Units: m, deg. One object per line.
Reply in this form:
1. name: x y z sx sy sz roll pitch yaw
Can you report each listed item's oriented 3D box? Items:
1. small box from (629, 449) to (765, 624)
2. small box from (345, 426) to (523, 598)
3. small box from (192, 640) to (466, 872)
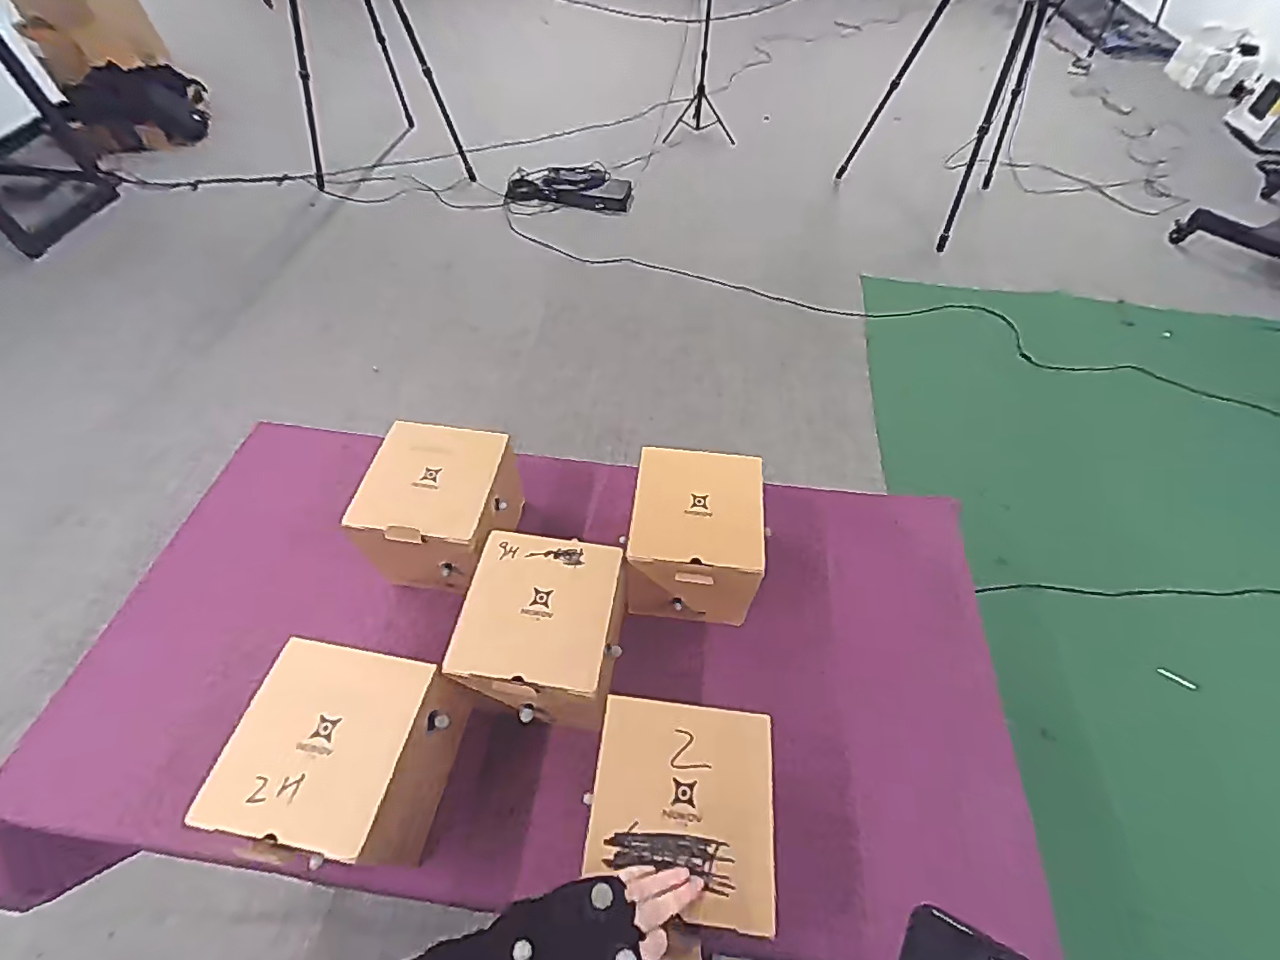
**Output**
1. small box: 0.074 0.081 0.754 0.168 0.176 0.179 5 55 3
2. small box: -0.274 0.050 0.771 0.168 0.176 0.179 7 54 3
3. small box: -0.305 0.299 0.583 0.168 0.176 0.179 9 54 6
